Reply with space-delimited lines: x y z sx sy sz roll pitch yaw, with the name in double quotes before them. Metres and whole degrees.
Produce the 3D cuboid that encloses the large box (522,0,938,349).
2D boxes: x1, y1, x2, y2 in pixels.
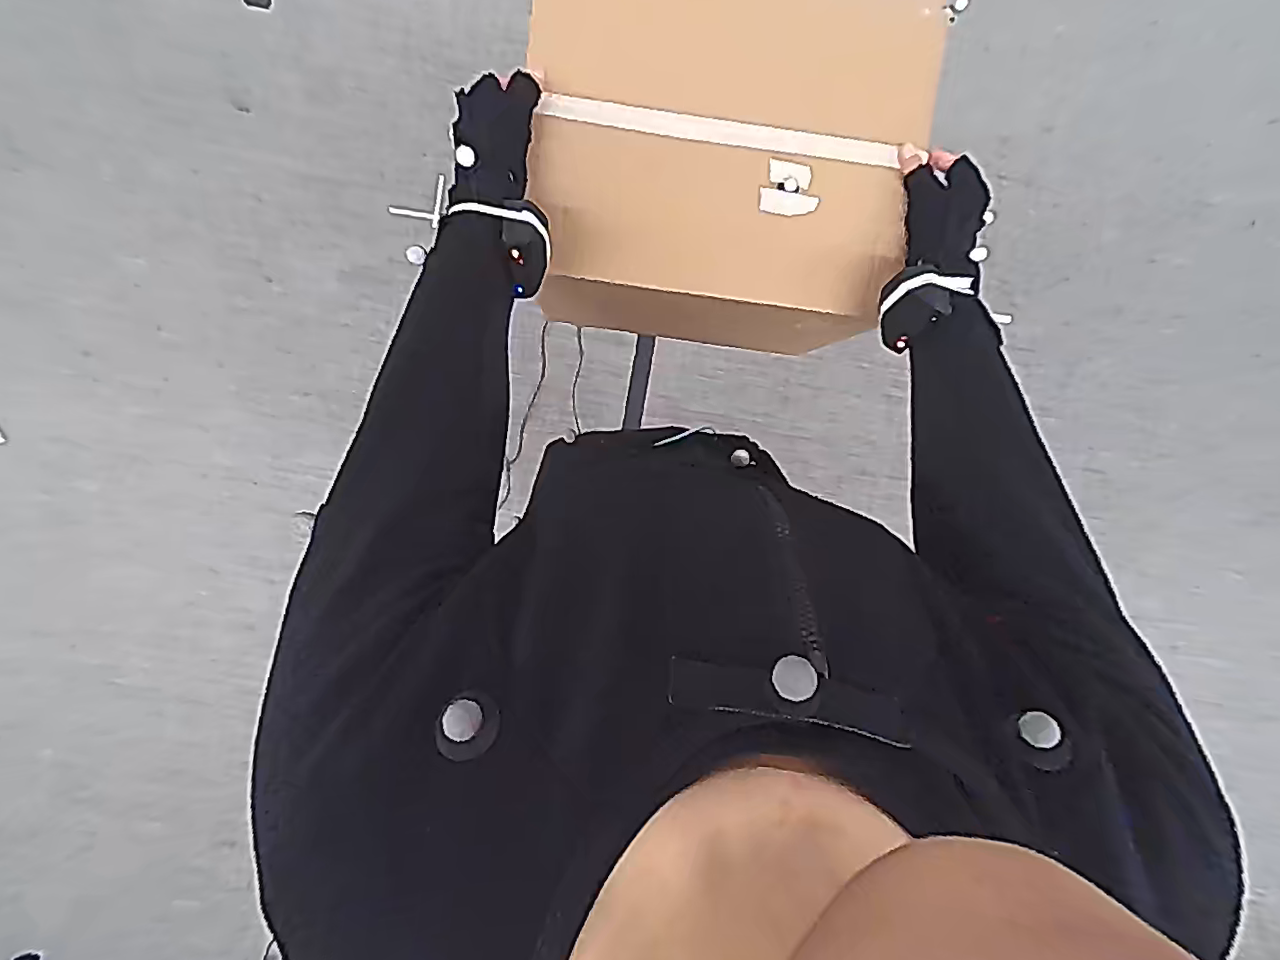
"large box" 0.080 -0.363 0.696 0.408 0.320 0.320 7 97 -4
